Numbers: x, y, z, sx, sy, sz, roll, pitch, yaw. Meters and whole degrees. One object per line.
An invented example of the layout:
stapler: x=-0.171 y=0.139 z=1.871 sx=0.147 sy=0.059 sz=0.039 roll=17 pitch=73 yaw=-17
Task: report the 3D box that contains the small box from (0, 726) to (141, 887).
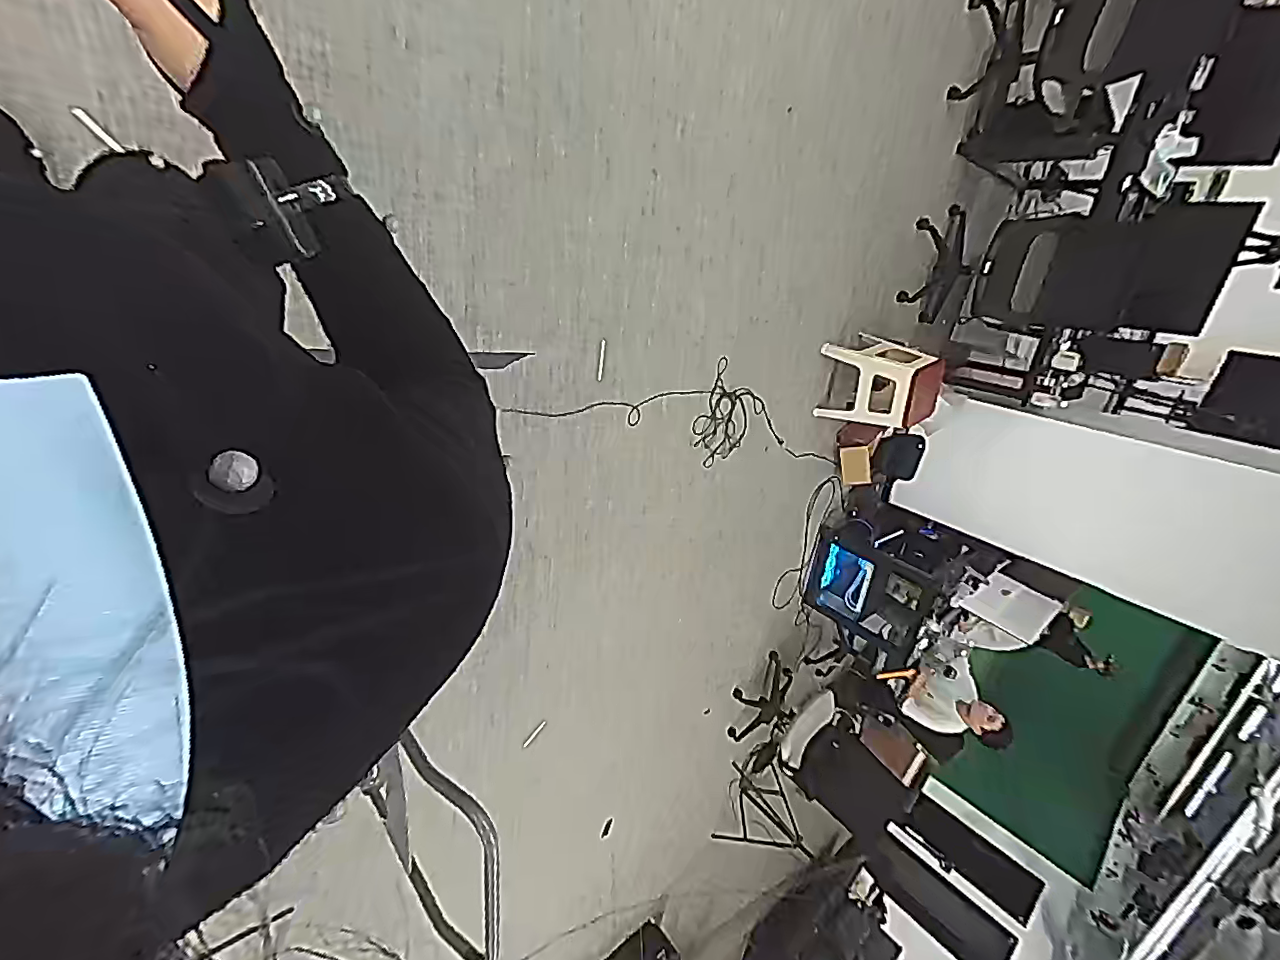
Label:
small box: x=-1.111 y=0.631 z=1.066 sx=0.168 sy=0.176 sz=0.179 roll=-13 pitch=119 yaw=-39
